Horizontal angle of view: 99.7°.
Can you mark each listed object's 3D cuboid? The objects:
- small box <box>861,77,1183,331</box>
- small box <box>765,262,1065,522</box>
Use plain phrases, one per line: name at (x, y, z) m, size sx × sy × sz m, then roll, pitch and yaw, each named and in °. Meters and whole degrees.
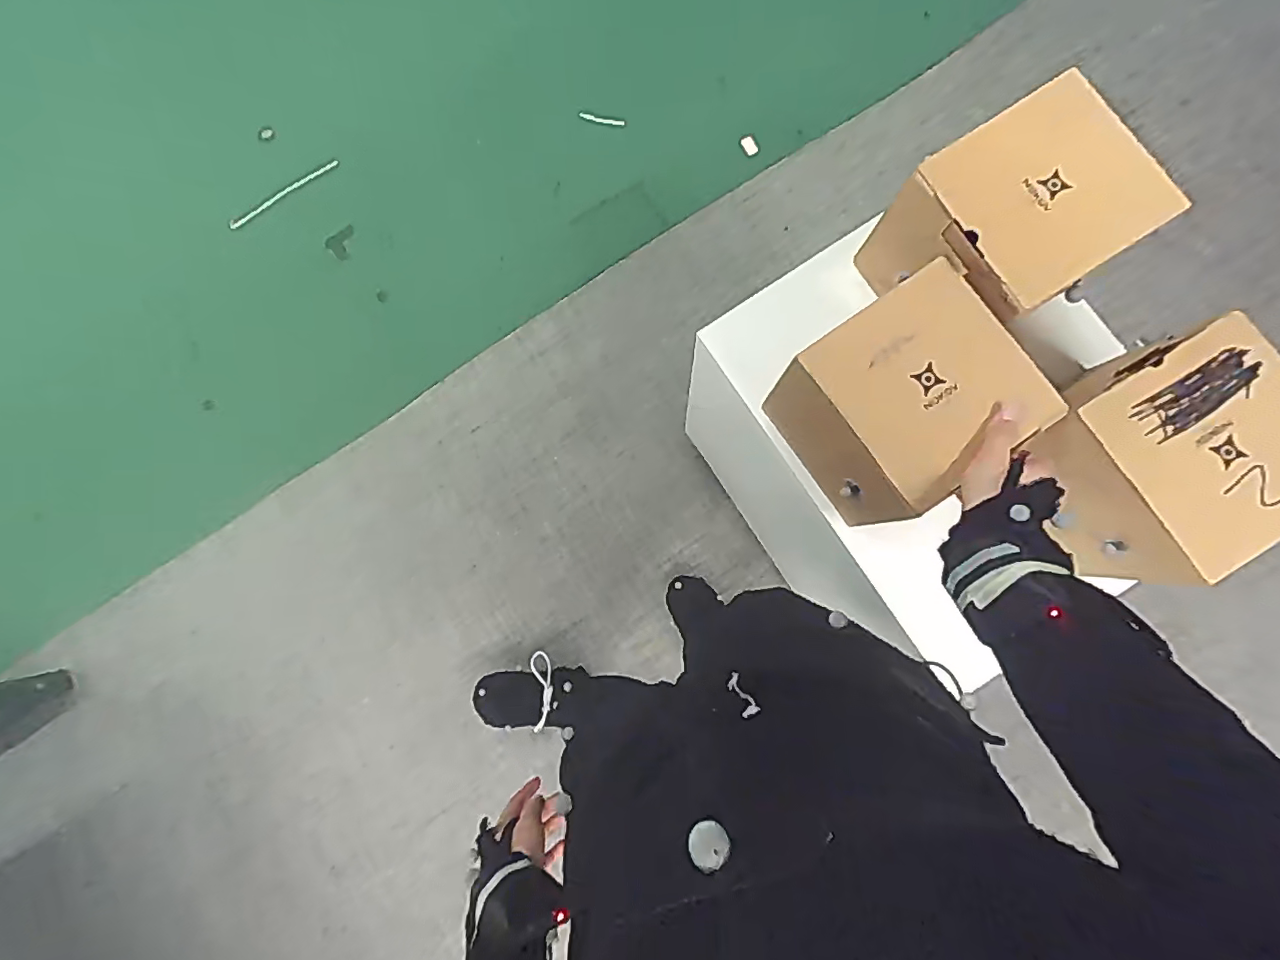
small box at (0.369, -0.248, 0.562) m, size 0.179 × 0.176 × 0.168 m, roll -33°, pitch 83°, yaw 0°
small box at (0.252, -0.070, 0.546) m, size 0.168 × 0.176 × 0.179 m, roll -35°, pitch 81°, yaw -4°
